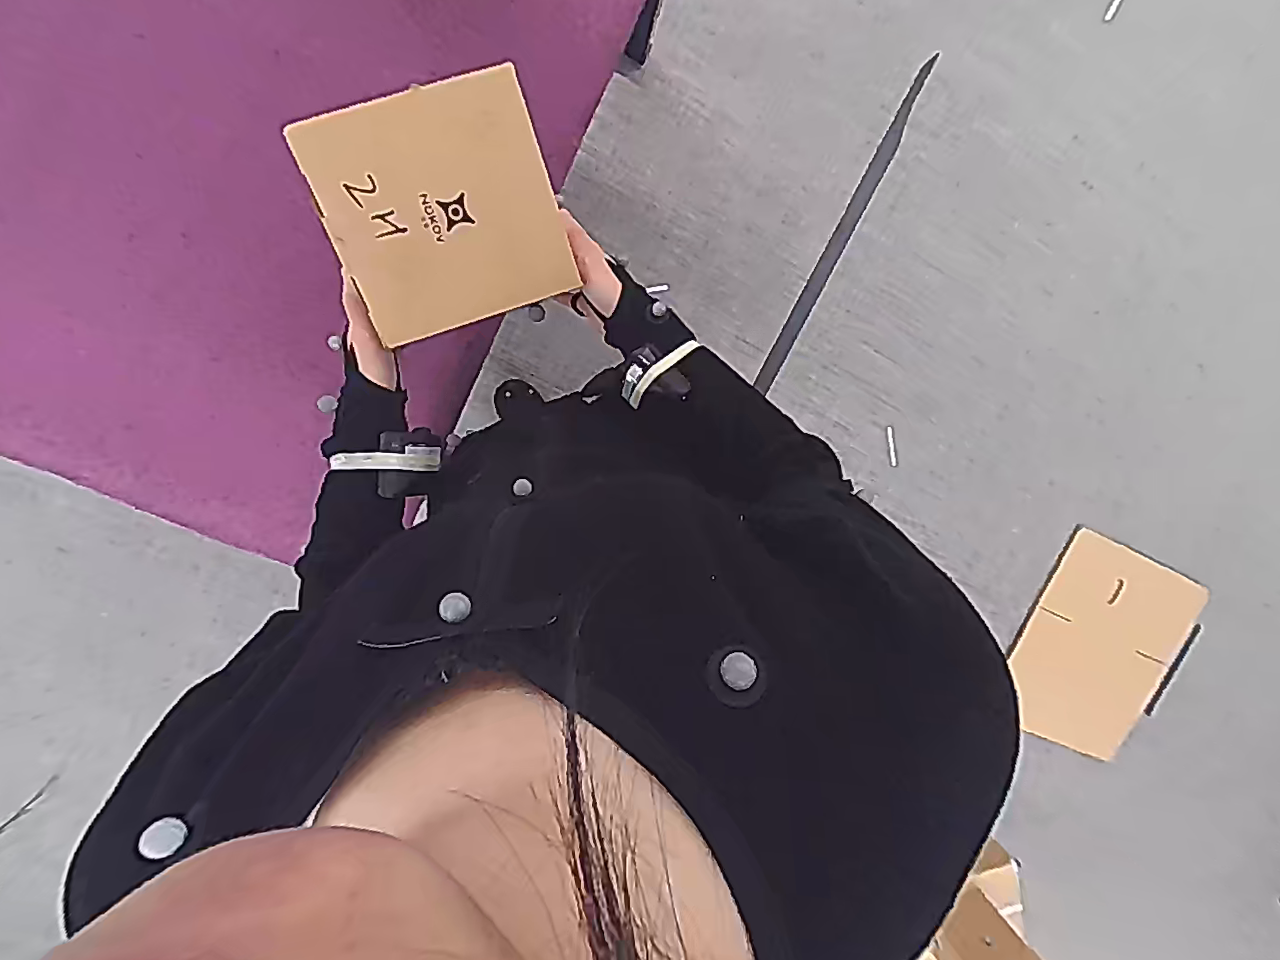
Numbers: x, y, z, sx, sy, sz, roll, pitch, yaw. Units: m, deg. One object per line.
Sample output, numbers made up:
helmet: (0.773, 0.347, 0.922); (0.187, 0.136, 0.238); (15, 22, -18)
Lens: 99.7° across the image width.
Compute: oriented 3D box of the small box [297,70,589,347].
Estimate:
small box: (-0.161, -0.234, 0.496); (0.179, 0.176, 0.168); (-19, 112, -5)

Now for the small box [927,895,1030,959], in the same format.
small box: (0.915, 1.278, 1.462); (0.179, 0.176, 0.168); (-15, 100, -4)
